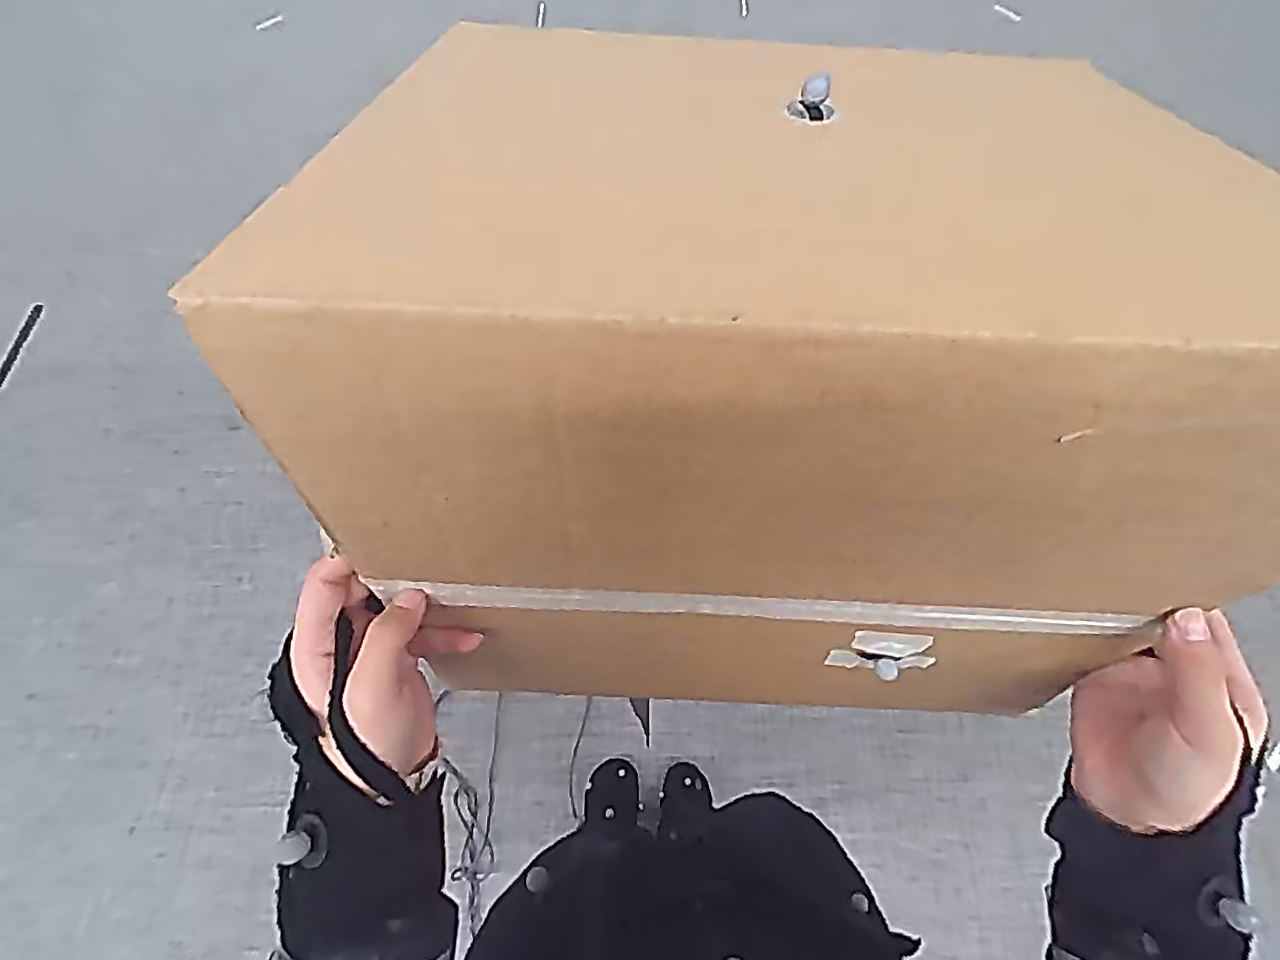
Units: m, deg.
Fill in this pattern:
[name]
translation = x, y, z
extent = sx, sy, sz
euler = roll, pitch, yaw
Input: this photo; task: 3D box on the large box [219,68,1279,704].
[large box]
translation = 0.067, -0.055, 0.370
extent = 0.408, 0.320, 0.320
euler = 2, 51, 0
